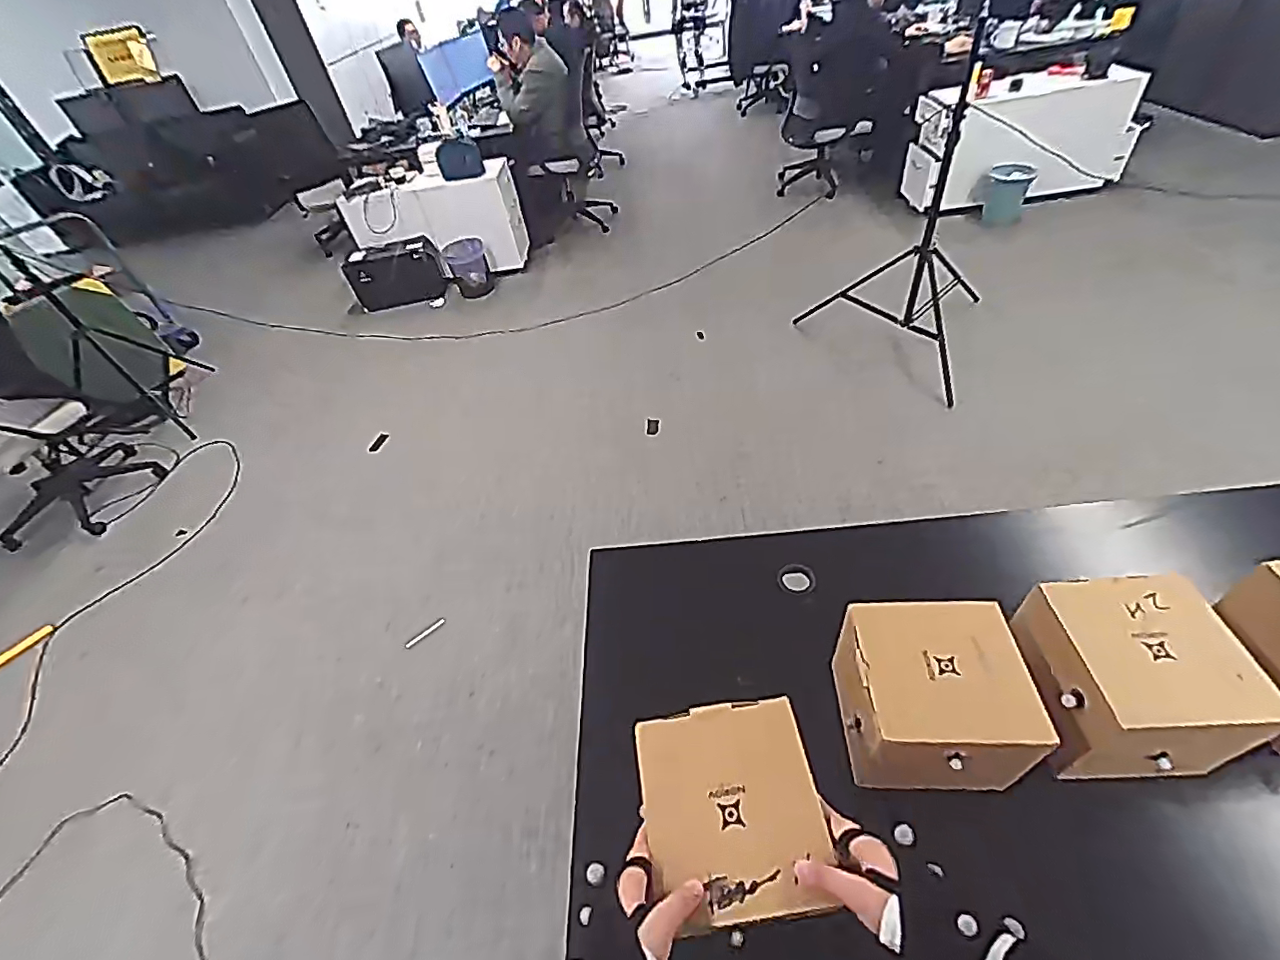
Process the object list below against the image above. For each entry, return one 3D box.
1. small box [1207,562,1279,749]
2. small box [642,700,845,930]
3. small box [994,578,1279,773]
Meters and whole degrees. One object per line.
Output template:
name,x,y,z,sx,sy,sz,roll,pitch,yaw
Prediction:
small box,0.833,0.210,0.641,0.179,0.176,0.168,-4,45,6
small box,0.100,0.363,0.583,0.168,0.176,0.179,-11,50,3
small box,0.574,0.243,0.658,0.168,0.176,0.179,-5,45,6
